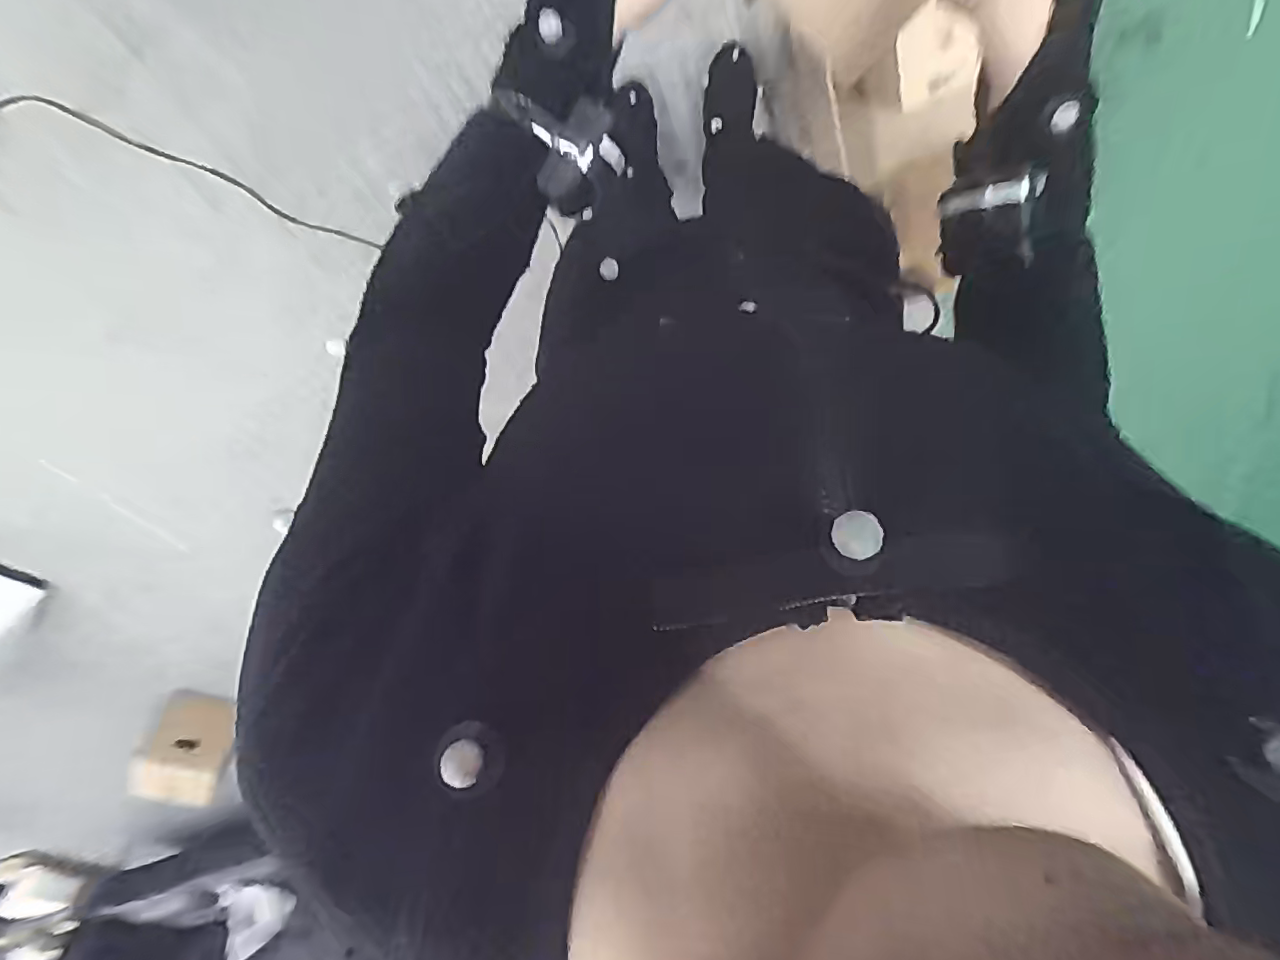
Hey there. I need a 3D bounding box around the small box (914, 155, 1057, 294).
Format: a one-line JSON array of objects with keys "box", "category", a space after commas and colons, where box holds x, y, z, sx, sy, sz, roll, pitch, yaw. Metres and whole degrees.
[{"box": [0.638, -0.485, 1.023, 0.168, 0.176, 0.179, -15, 128, 10], "category": "small box"}]
